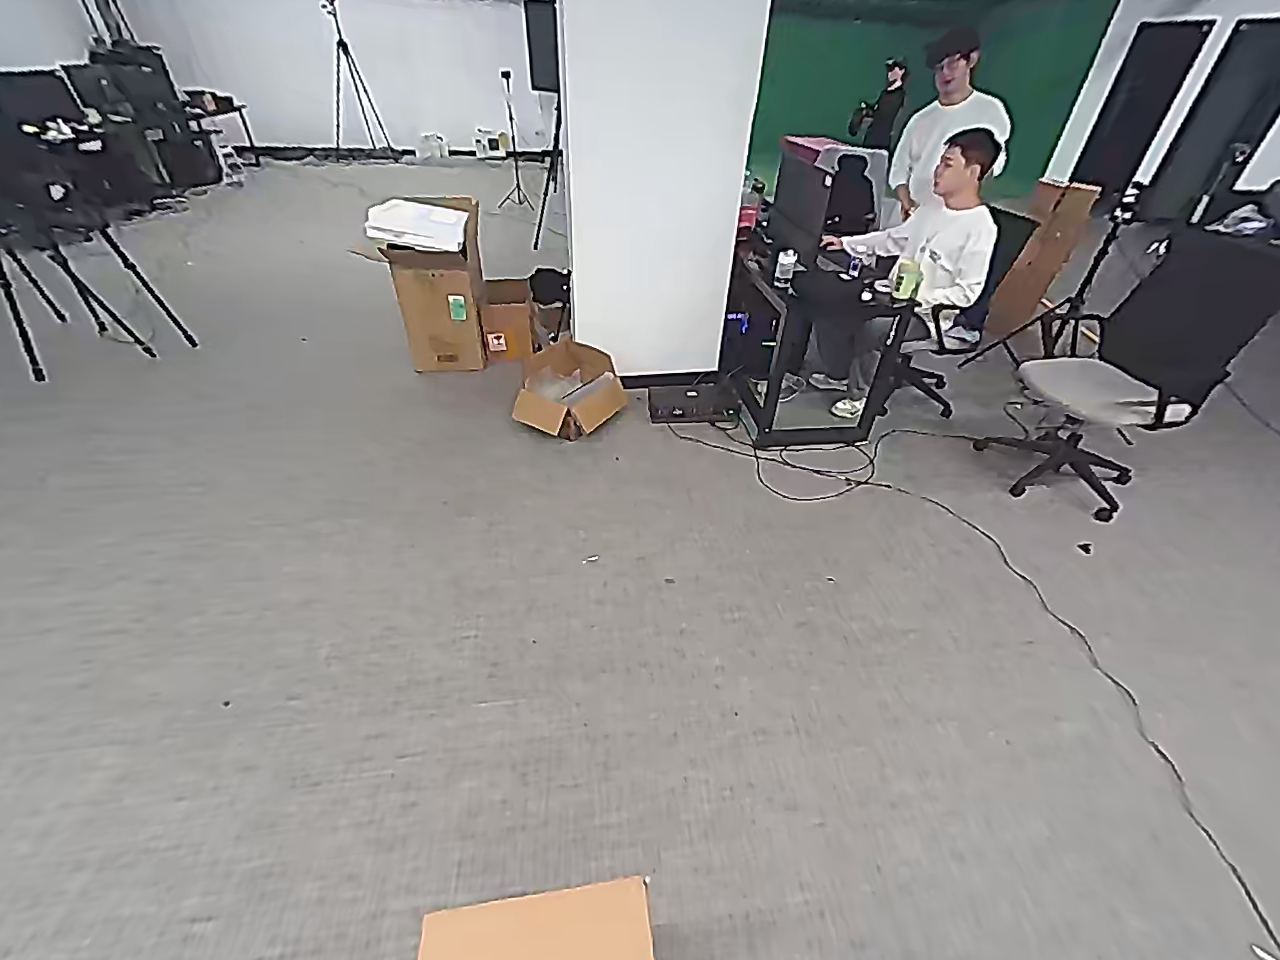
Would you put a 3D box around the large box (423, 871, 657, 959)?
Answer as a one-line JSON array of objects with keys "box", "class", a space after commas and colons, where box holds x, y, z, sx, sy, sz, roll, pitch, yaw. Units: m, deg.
[{"box": [-0.170, 0.974, 0.977, 0.408, 0.320, 0.320, -3, 39, -9], "class": "large box"}]
